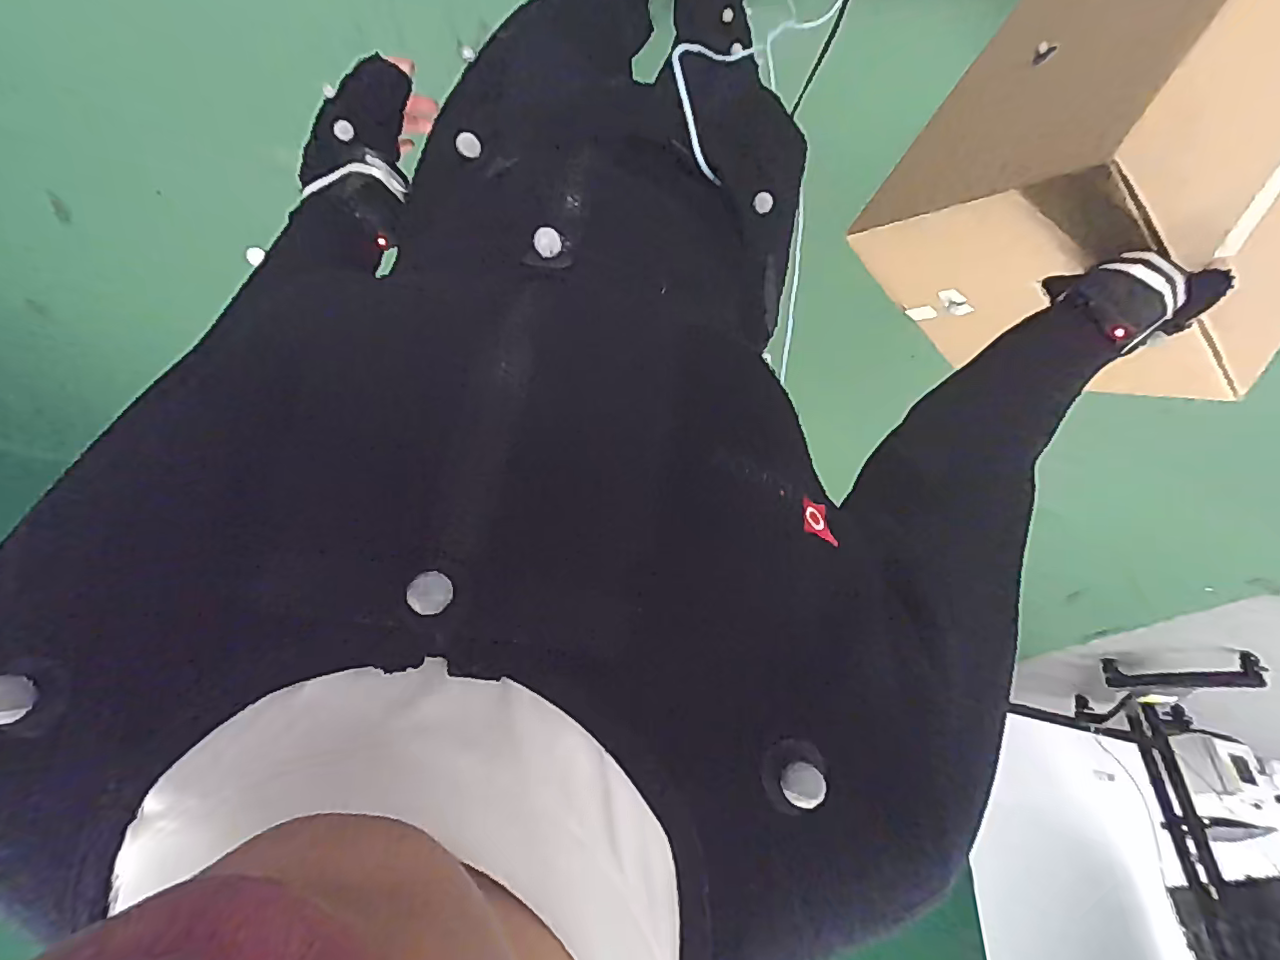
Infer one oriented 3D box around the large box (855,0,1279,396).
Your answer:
[{"bbox_3d":[0.543,-0.353,0.623,0.320,0.408,0.320,36,180,-23],"label":"large box"}]
